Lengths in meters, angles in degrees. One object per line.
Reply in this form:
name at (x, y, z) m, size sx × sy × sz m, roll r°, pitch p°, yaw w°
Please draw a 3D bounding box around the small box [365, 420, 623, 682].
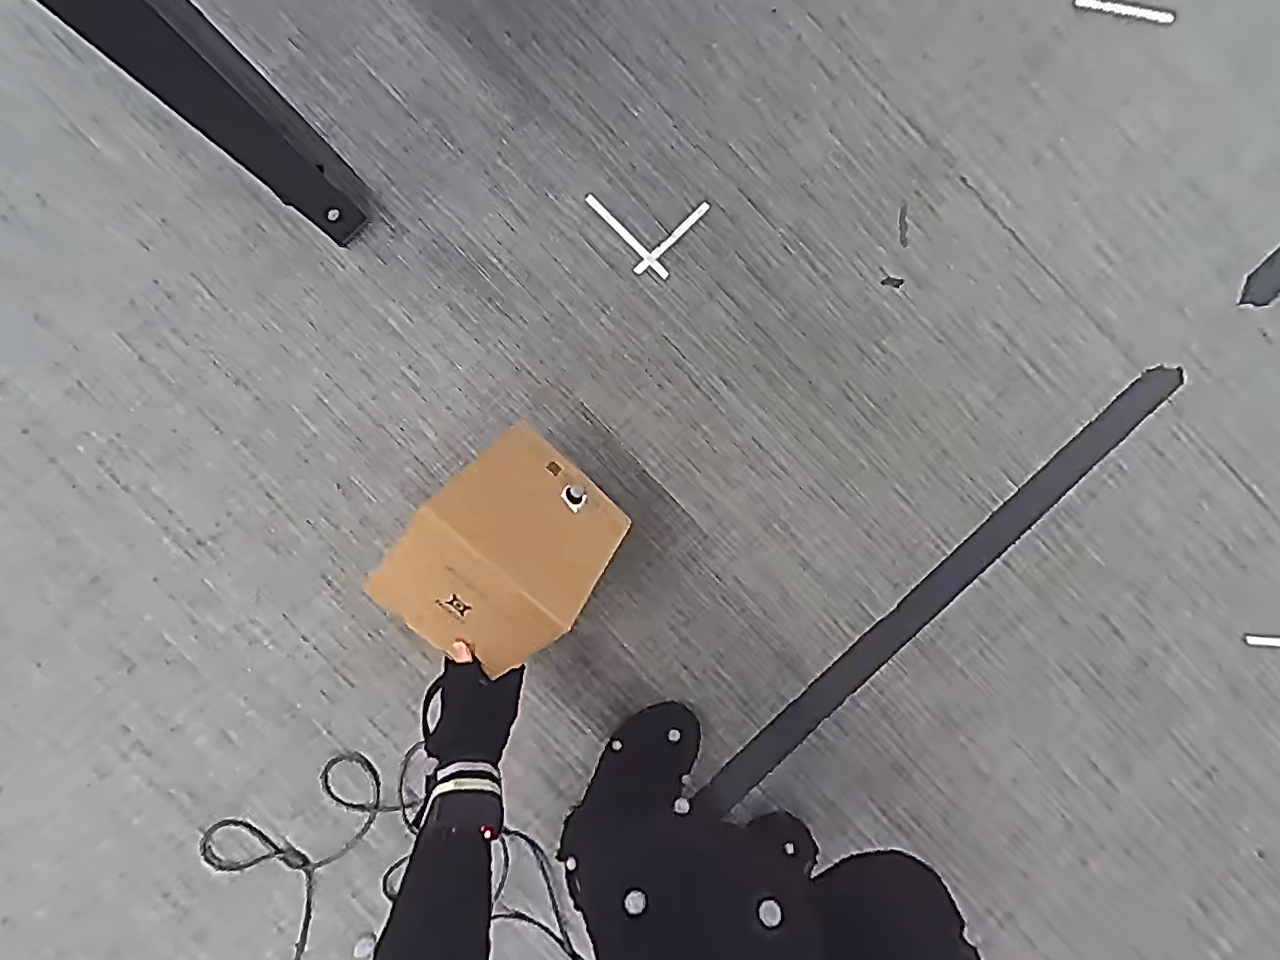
small box at (-0.144, 0.072, 0.565) m, size 0.168 × 0.176 × 0.179 m, roll 41°, pitch 130°, yaw -8°
